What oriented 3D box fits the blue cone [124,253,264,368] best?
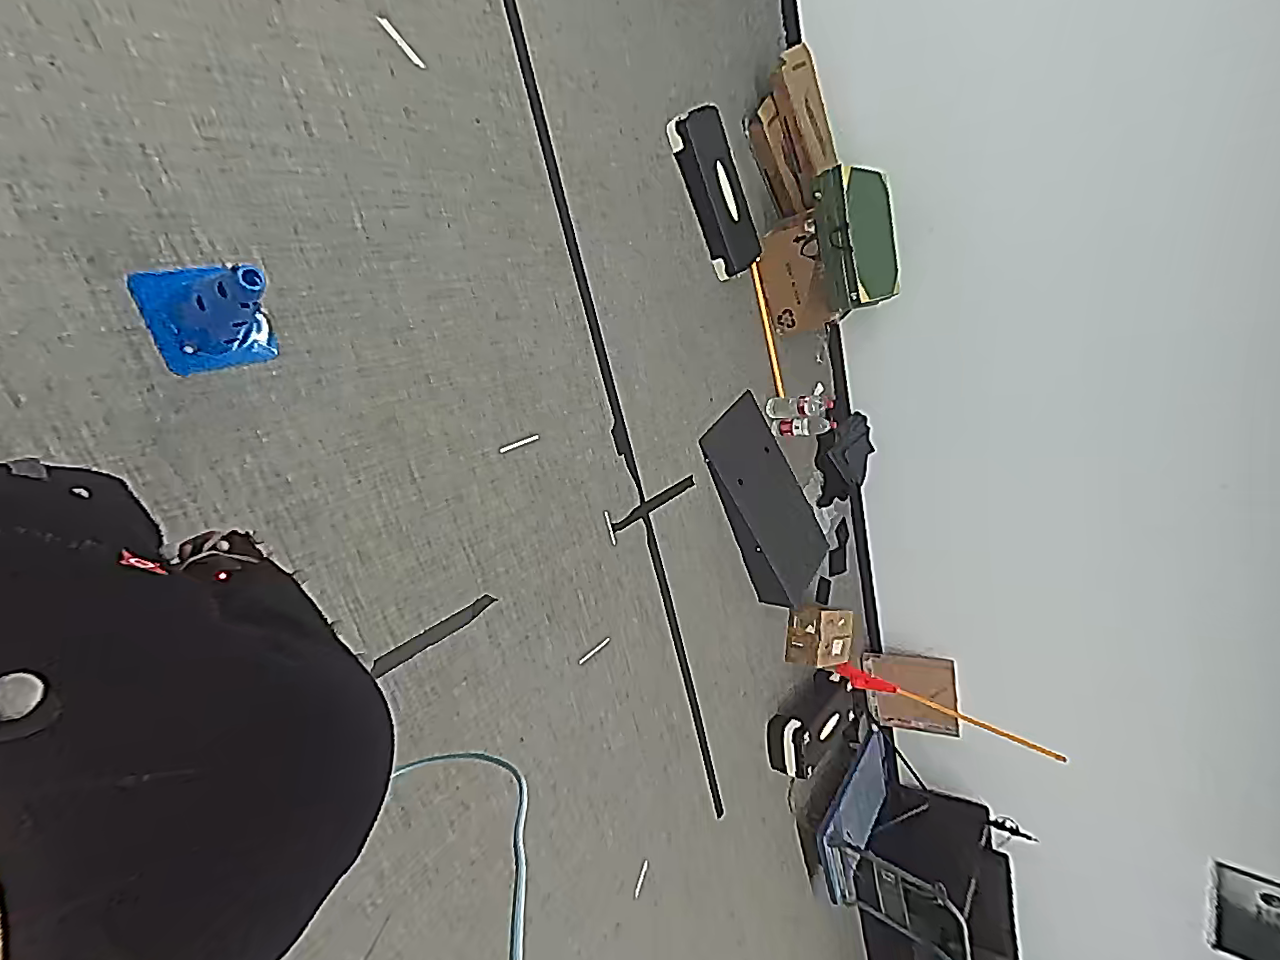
[{"bbox_3d":[-0.768,-0.330,0.981,0.193,0.380,0.192,-28,110,-44],"label":"blue cone"}]
